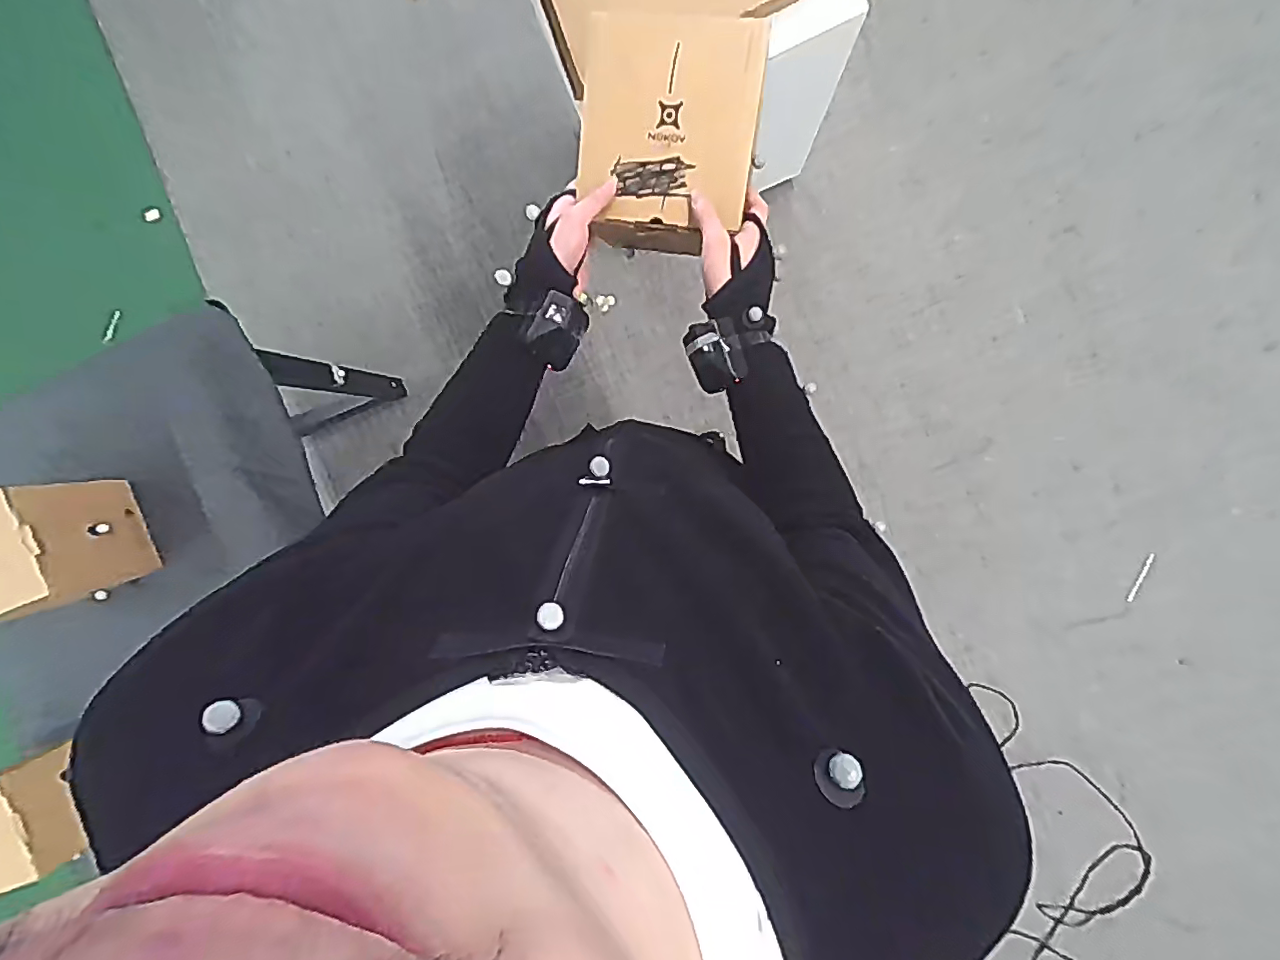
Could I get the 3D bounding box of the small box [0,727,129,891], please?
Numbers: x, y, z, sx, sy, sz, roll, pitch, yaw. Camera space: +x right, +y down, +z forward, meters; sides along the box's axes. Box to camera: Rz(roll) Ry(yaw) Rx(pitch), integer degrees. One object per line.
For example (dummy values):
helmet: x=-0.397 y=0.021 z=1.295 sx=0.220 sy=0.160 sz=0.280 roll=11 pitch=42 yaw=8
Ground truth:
small box: x=-0.987 y=0.532 z=0.871 sx=0.179 sy=0.176 sz=0.168 roll=-22 pitch=91 yaw=7

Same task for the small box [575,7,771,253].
small box: x=0.038 y=-0.352 z=0.578 sx=0.168 sy=0.176 sz=0.179 roll=9 pitch=105 yaw=6

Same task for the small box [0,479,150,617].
small box: x=-0.931 y=0.103 z=0.848 sx=0.179 sy=0.176 sz=0.168 roll=-20 pitch=92 yaw=5
